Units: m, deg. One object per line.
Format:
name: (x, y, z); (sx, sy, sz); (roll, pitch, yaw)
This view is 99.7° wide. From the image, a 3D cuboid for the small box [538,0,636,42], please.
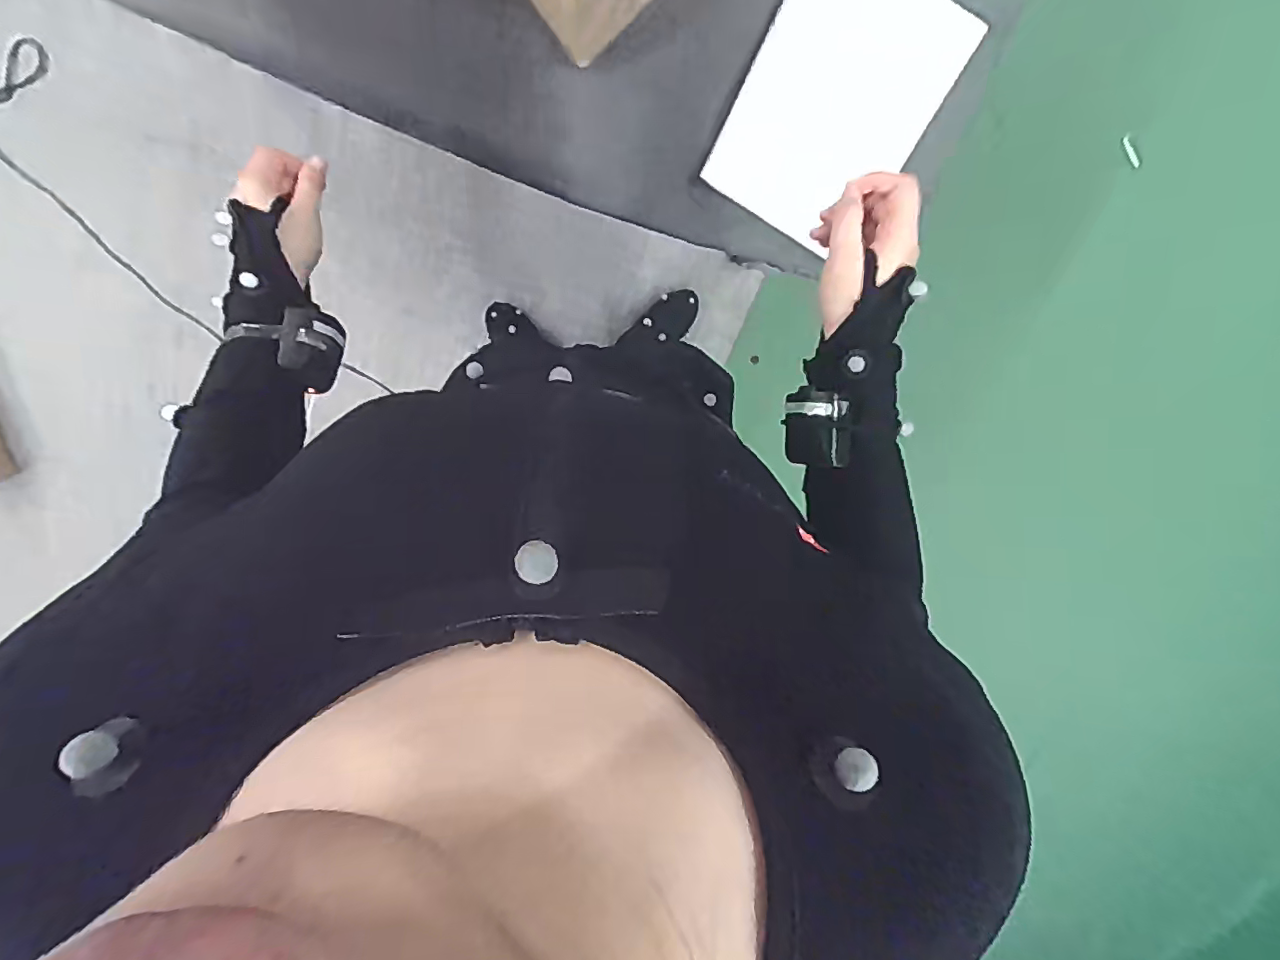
small box: (-0.049, -0.519, 0.453); (0.168, 0.176, 0.179); (-38, 107, 13)
